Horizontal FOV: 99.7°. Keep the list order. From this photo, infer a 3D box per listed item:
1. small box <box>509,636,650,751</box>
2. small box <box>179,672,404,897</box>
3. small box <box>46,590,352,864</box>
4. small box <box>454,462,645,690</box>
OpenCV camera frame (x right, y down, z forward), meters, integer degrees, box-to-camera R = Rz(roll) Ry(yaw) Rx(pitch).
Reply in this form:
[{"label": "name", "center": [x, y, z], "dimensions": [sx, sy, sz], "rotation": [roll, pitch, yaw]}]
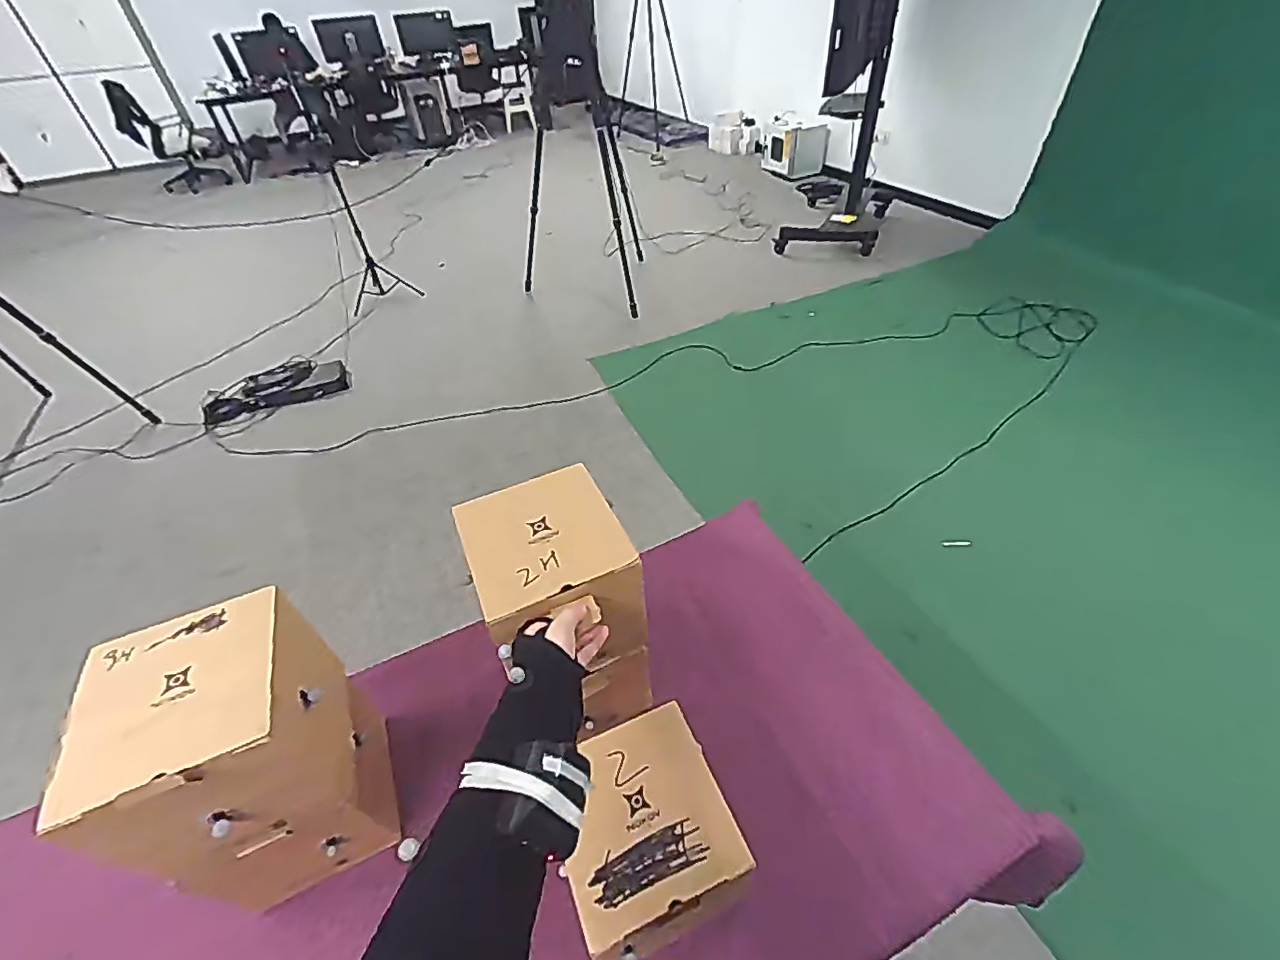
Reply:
[{"label": "small box", "center": [-0.097, 0.238, 0.758], "dimensions": [0.168, 0.176, 0.179], "rotation": [-23, 48, -17]}, {"label": "small box", "center": [-0.406, 0.368, 0.657], "dimensions": [0.168, 0.176, 0.179], "rotation": [-21, 46, -16]}, {"label": "small box", "center": [-0.410, 0.250, 0.542], "dimensions": [0.168, 0.176, 0.179], "rotation": [-20, 47, -16]}, {"label": "small box", "center": [-0.105, 0.114, 0.650], "dimensions": [0.168, 0.176, 0.179], "rotation": [-21, 47, -15]}]
